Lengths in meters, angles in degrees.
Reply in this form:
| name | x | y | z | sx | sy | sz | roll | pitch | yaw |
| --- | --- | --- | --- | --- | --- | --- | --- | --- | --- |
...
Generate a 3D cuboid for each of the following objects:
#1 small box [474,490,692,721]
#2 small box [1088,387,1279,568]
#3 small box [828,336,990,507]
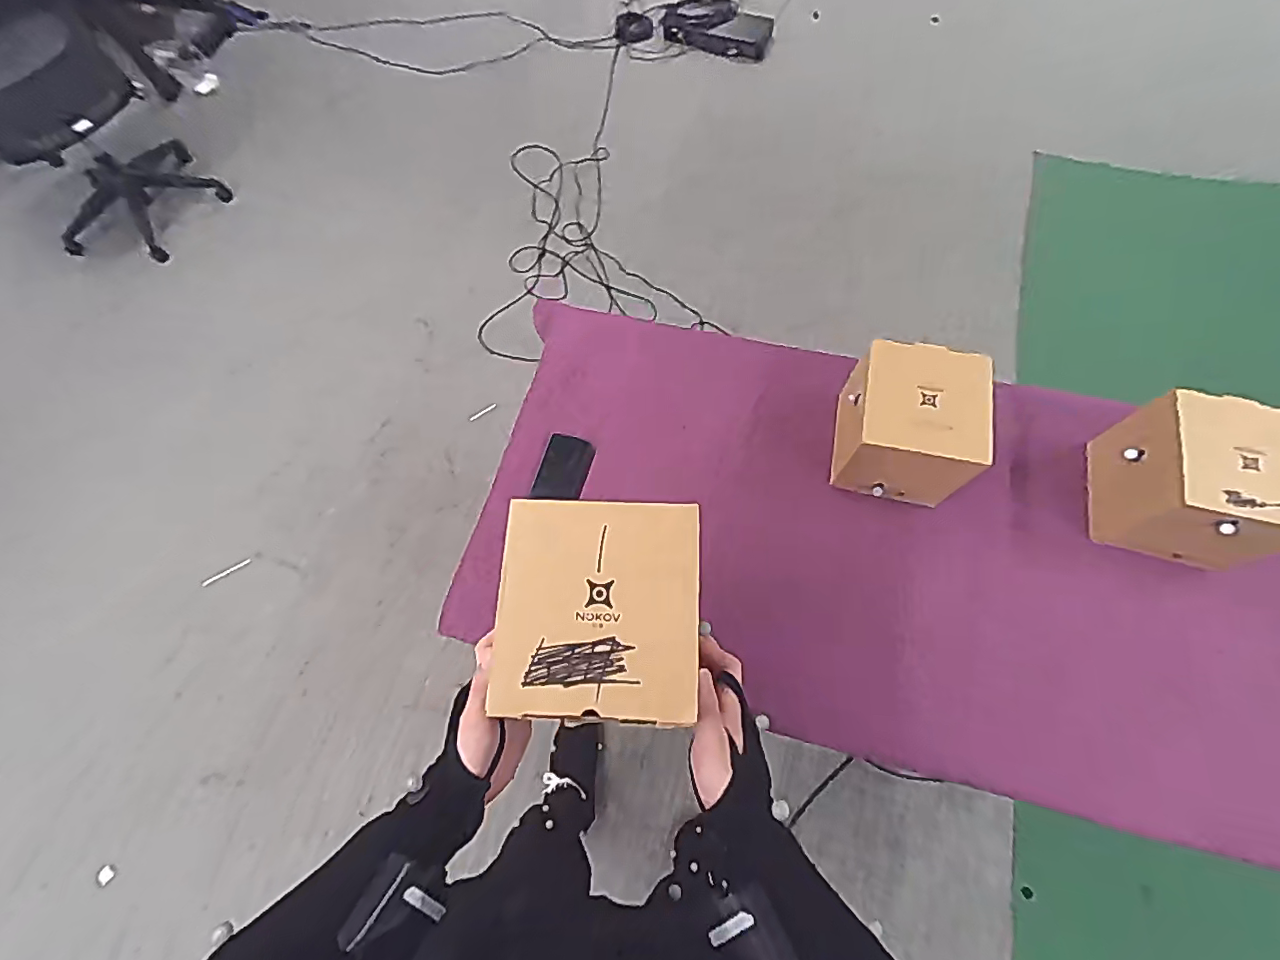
| name | x | y | z | sx | sy | sz | roll | pitch | yaw |
| --- | --- | --- | --- | --- | --- | --- | --- | --- | --- |
| small box | -0.037 | 0.120 | 0.507 | 0.168 | 0.176 | 0.179 | 2 | 70 | 3 |
| small box | 0.766 | 0.002 | 0.750 | 0.168 | 0.176 | 0.179 | 13 | 67 | 9 |
| small box | 0.390 | -0.081 | 0.805 | 0.168 | 0.176 | 0.179 | 12 | 68 | 8 |
